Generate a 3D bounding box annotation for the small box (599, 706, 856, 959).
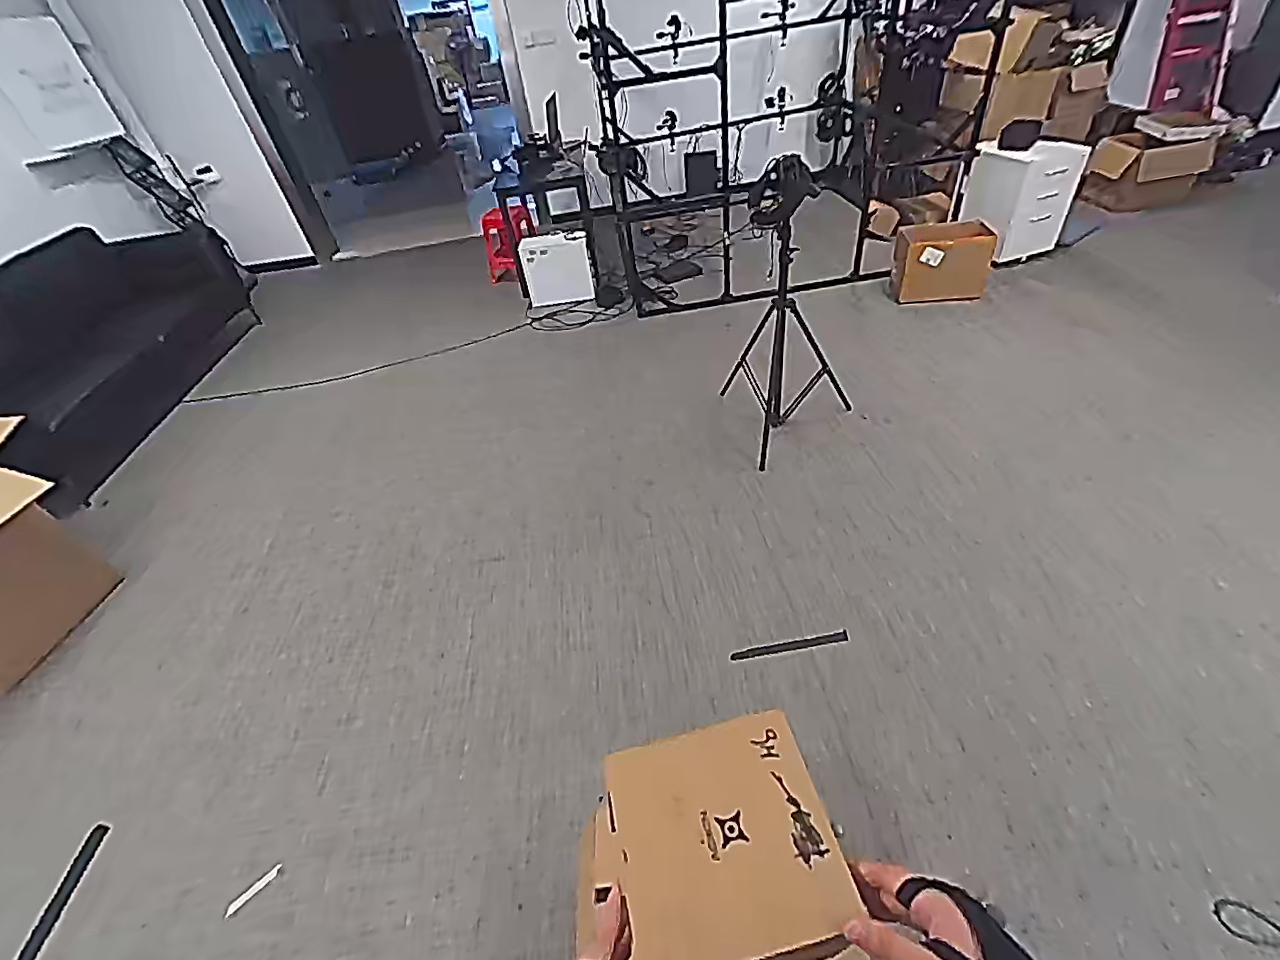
[{"bbox_3d":[0.072,0.345,0.502,0.179,0.176,0.168,-13,43,-5],"label":"small box"}]
